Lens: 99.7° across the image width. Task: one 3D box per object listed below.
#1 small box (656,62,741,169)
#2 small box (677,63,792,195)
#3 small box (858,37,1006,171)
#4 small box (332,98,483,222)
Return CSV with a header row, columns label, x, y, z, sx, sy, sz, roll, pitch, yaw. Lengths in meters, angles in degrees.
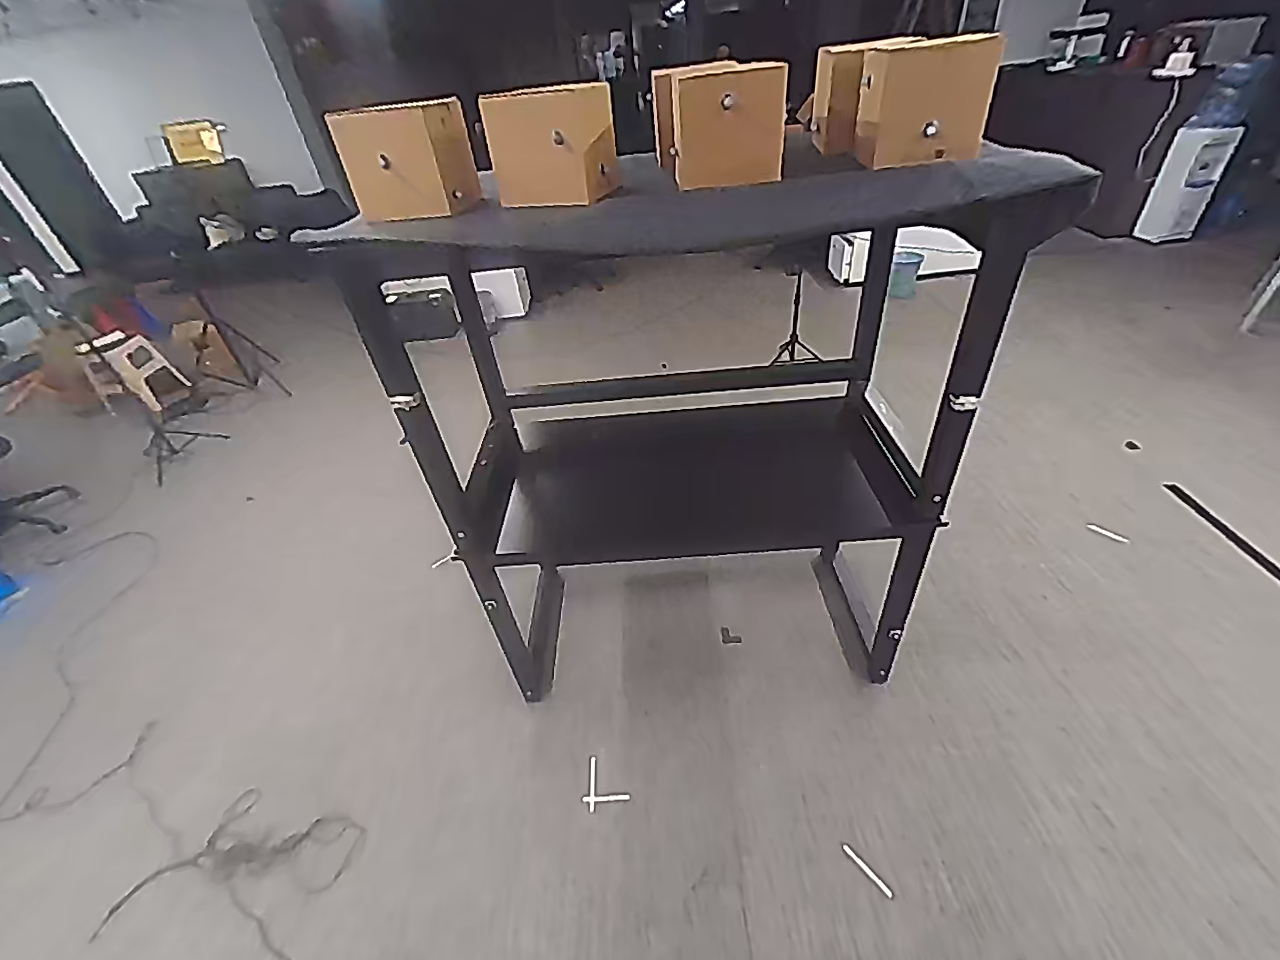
label,x,y,z,sx,sy,sz,roll,pitch,yaw
small box,0.122,-0.774,1.151,0.168,0.176,0.179,-5,39,4
small box,0.158,-0.619,0.955,0.179,0.176,0.168,-5,39,4
small box,0.481,-0.639,0.925,0.168,0.176,0.179,0,39,9
small box,-0.411,-0.588,0.997,0.179,0.176,0.168,0,38,9
